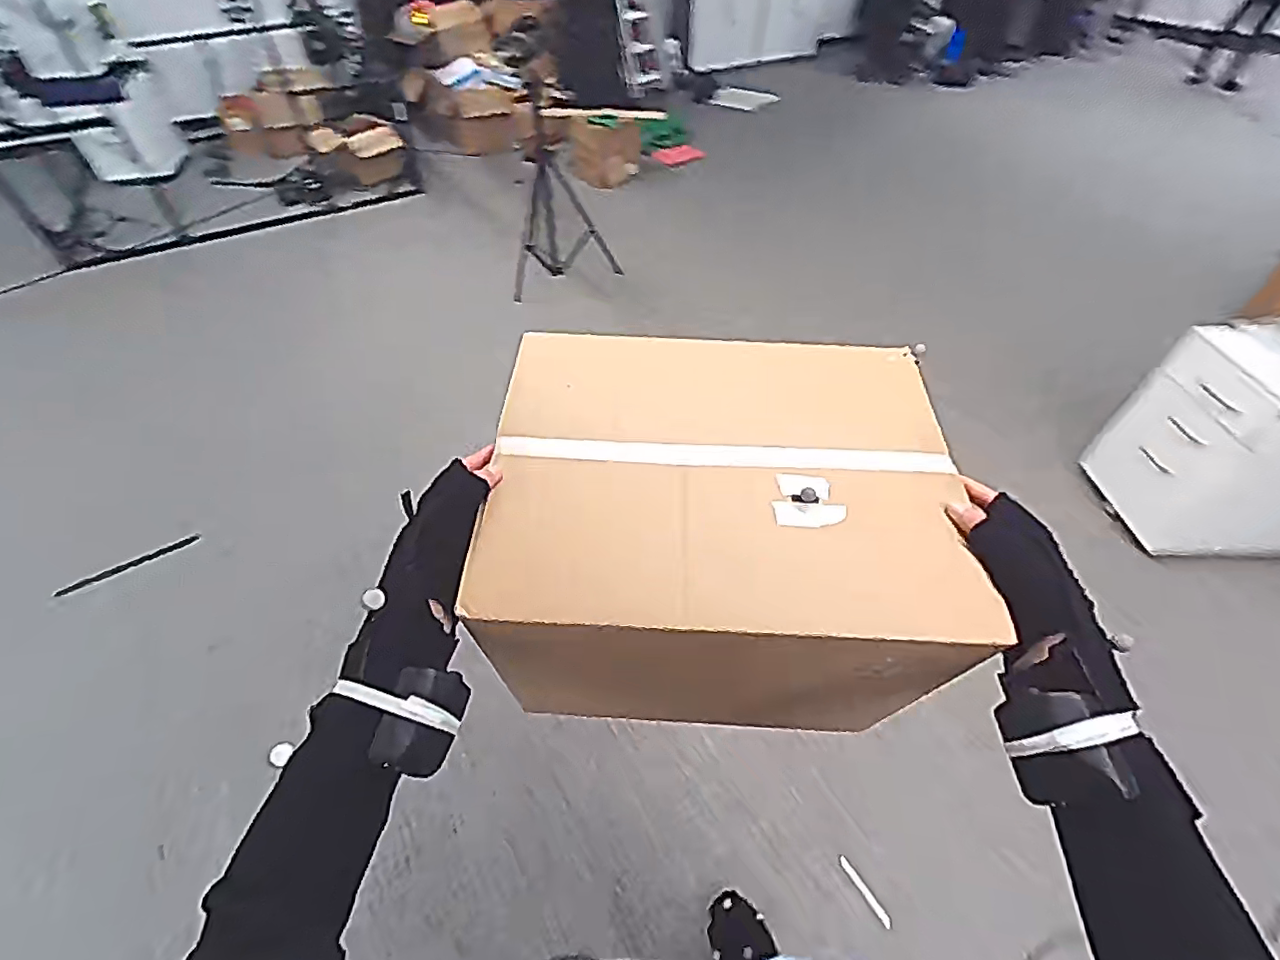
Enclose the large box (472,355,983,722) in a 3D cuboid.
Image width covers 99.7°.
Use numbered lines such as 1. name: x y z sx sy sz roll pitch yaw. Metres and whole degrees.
1. large box: 0.065 0.079 0.618 0.408 0.320 0.320 2 55 0
